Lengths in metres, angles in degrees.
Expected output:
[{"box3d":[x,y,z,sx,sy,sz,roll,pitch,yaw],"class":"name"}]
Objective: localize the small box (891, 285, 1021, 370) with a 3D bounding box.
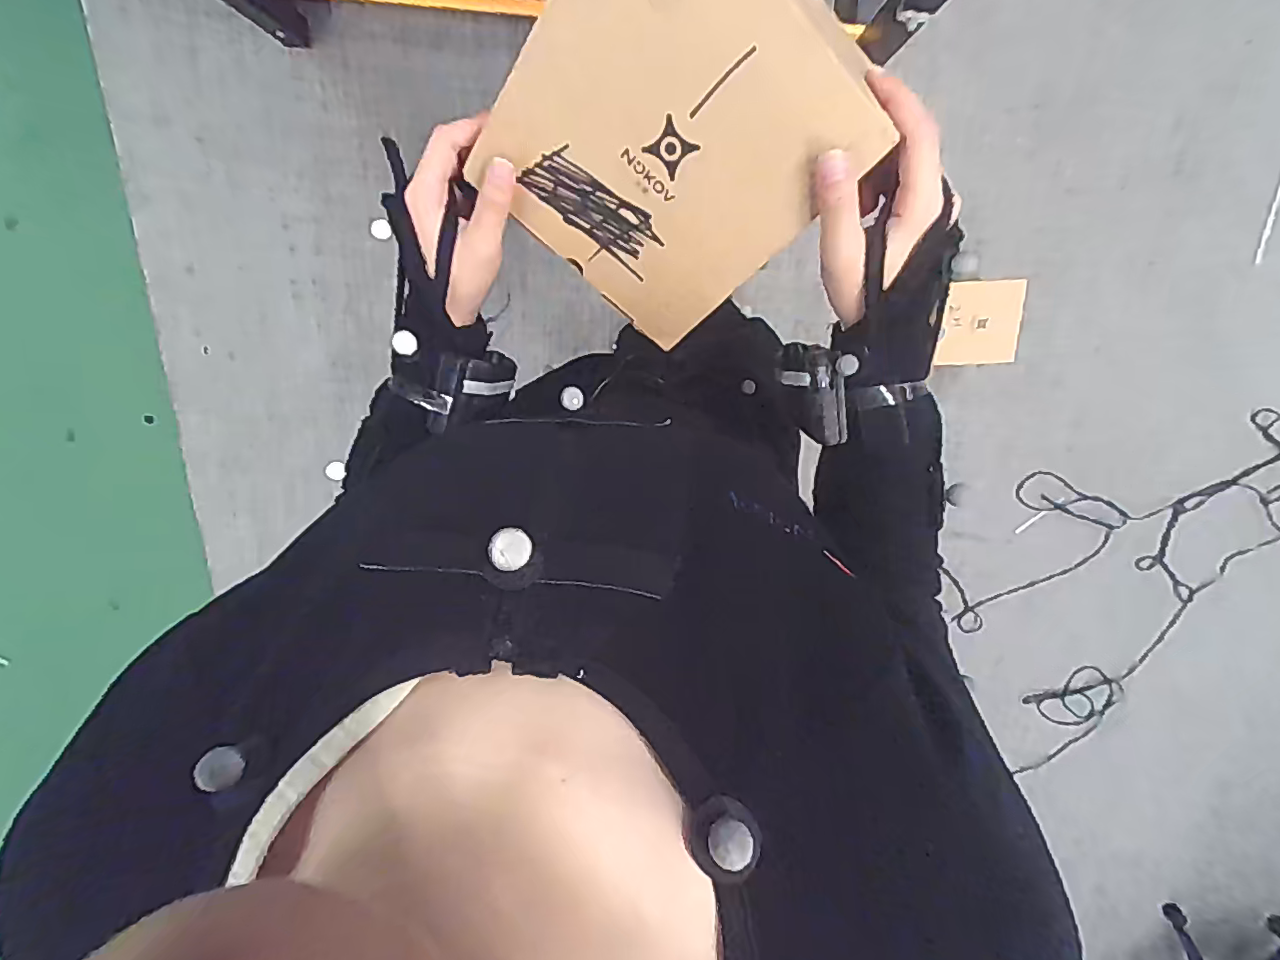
[{"box3d":[0.680,-0.335,1.181,0.179,0.176,0.168,-2,107,1],"class":"small box"}]
